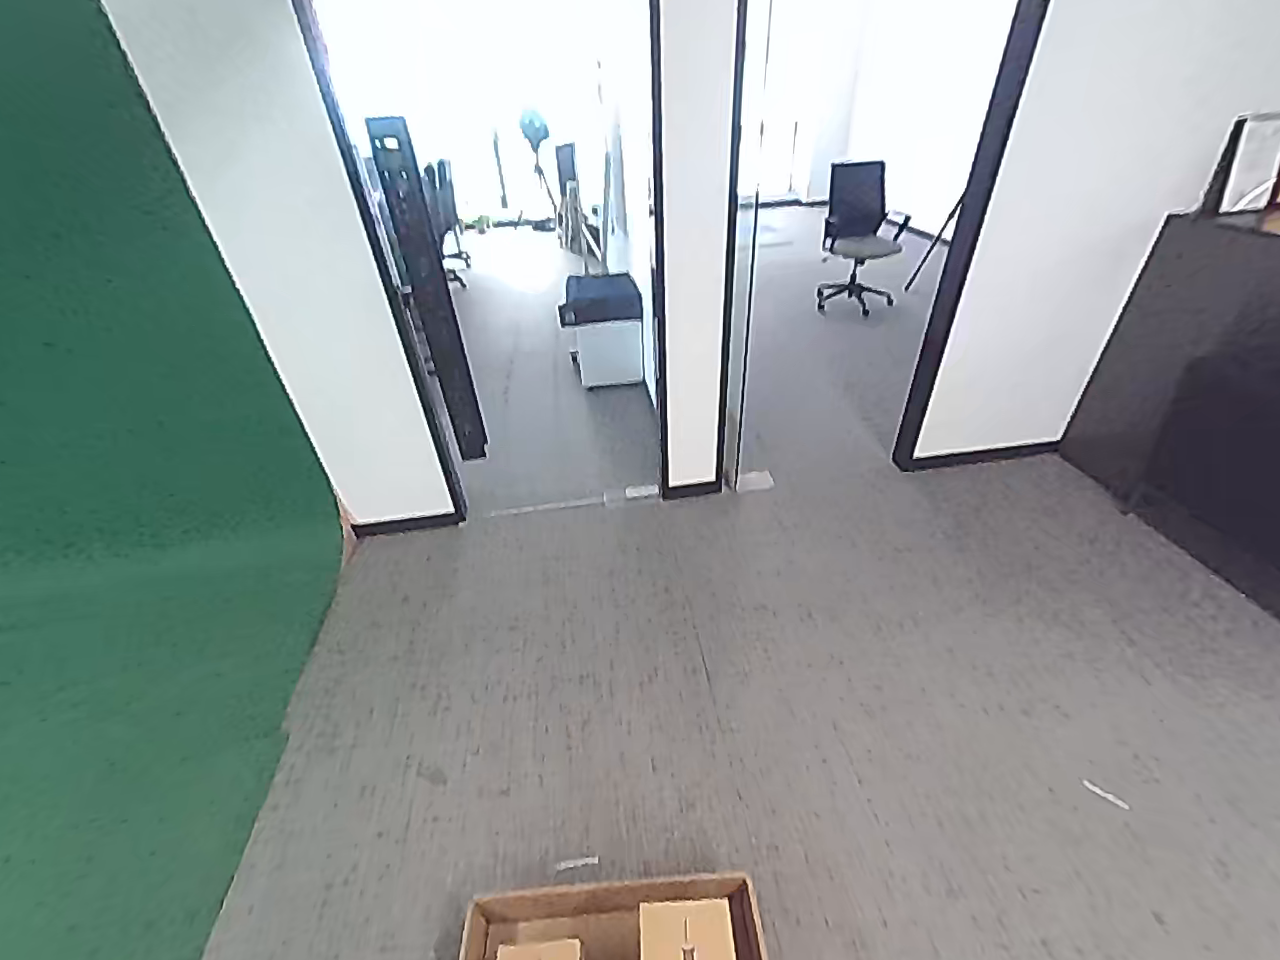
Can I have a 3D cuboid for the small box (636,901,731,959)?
[{"bbox_3d":[0.081,0.885,0.960,0.168,0.176,0.179,-4,34,1],"label":"small box"}]
